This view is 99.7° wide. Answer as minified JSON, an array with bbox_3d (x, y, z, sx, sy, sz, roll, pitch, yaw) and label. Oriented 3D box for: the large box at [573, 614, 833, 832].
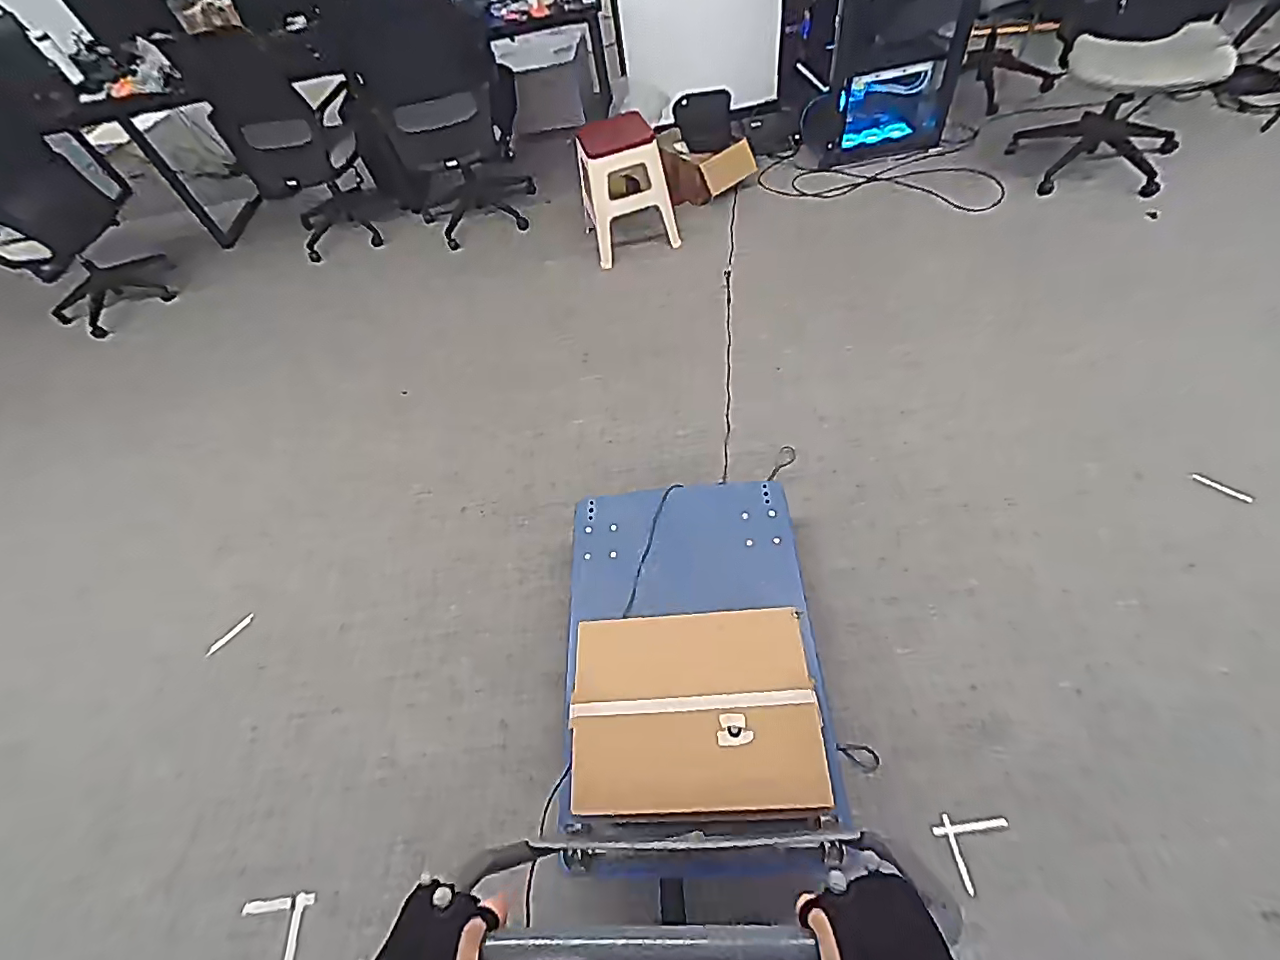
[{"bbox_3d":[0.104,0.469,1.021,0.408,0.320,0.320,-5,56,5],"label":"large box"}]
